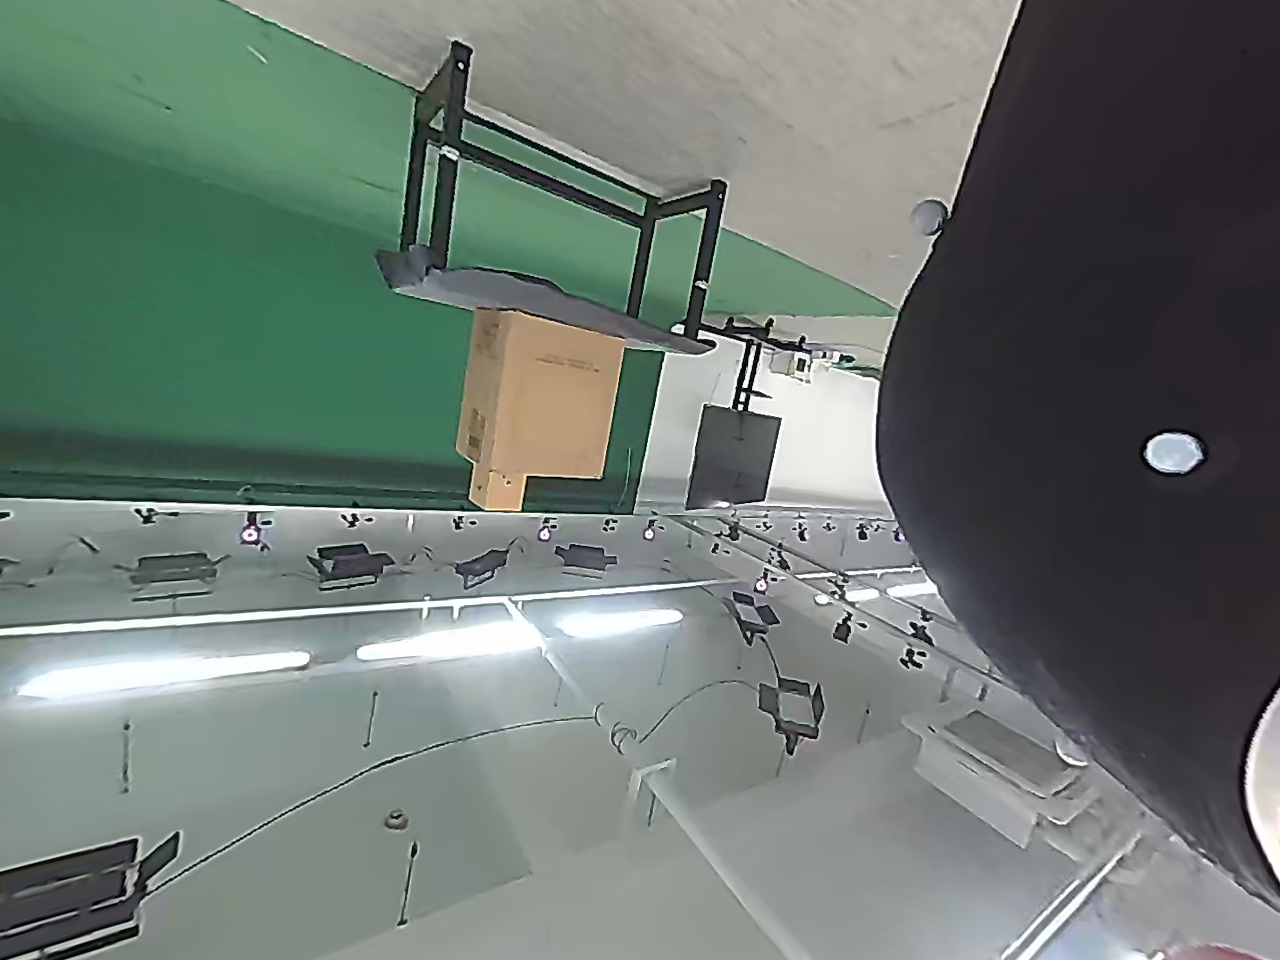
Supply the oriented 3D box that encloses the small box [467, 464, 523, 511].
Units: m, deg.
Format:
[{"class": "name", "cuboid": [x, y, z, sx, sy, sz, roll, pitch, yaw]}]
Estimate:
[{"class": "small box", "cuboid": [-0.610, 0.026, 2.291, 0.168, 0.176, 0.179, 4, -171, -40]}]
